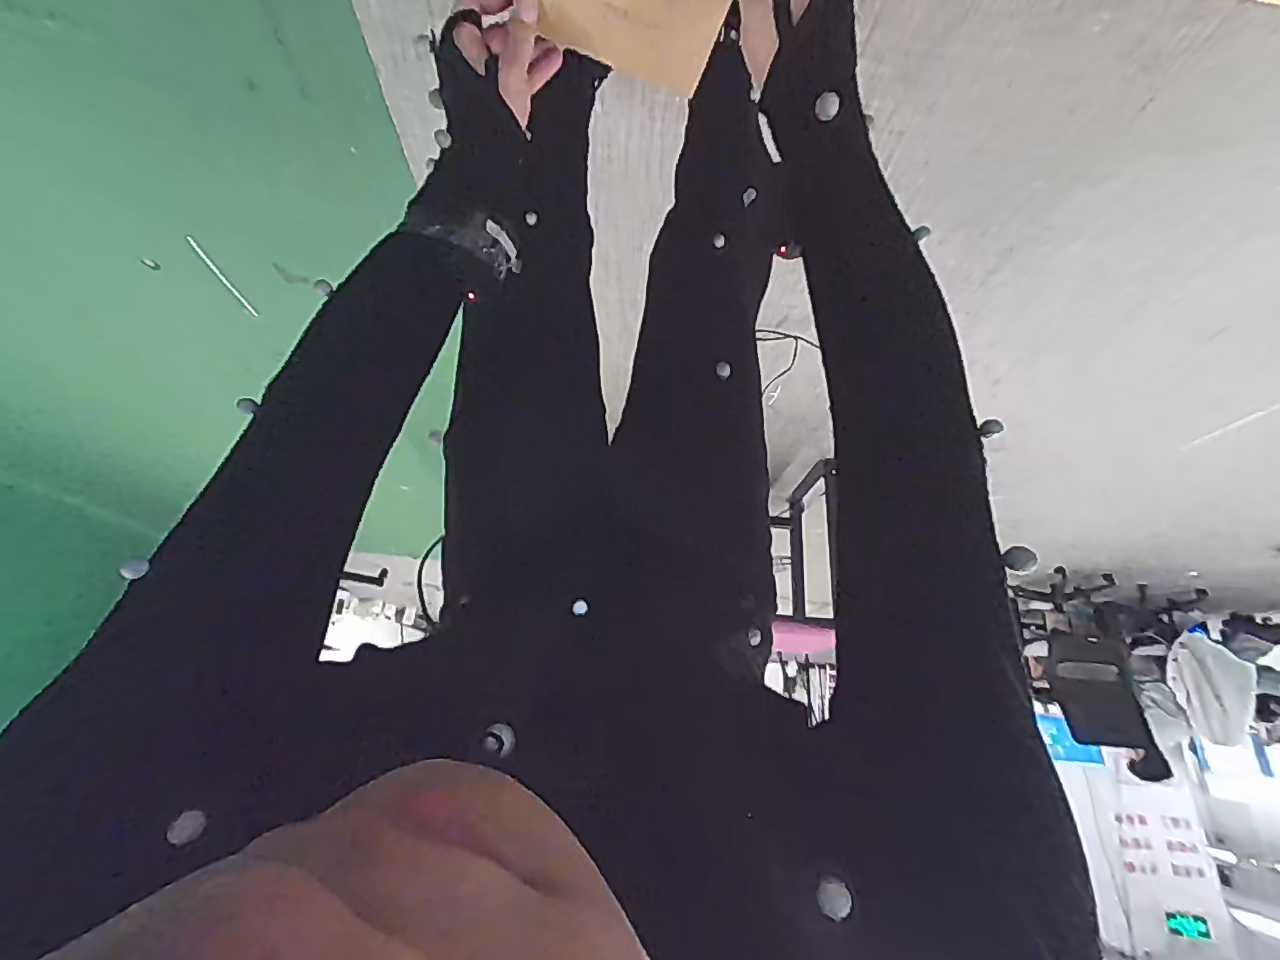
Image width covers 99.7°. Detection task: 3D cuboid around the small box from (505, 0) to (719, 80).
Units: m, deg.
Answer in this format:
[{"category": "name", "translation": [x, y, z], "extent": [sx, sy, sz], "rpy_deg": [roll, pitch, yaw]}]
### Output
[{"category": "small box", "translation": [0.001, -0.467, 0.403], "extent": [0.168, 0.176, 0.179], "rpy_deg": [14, 161, -13]}]
